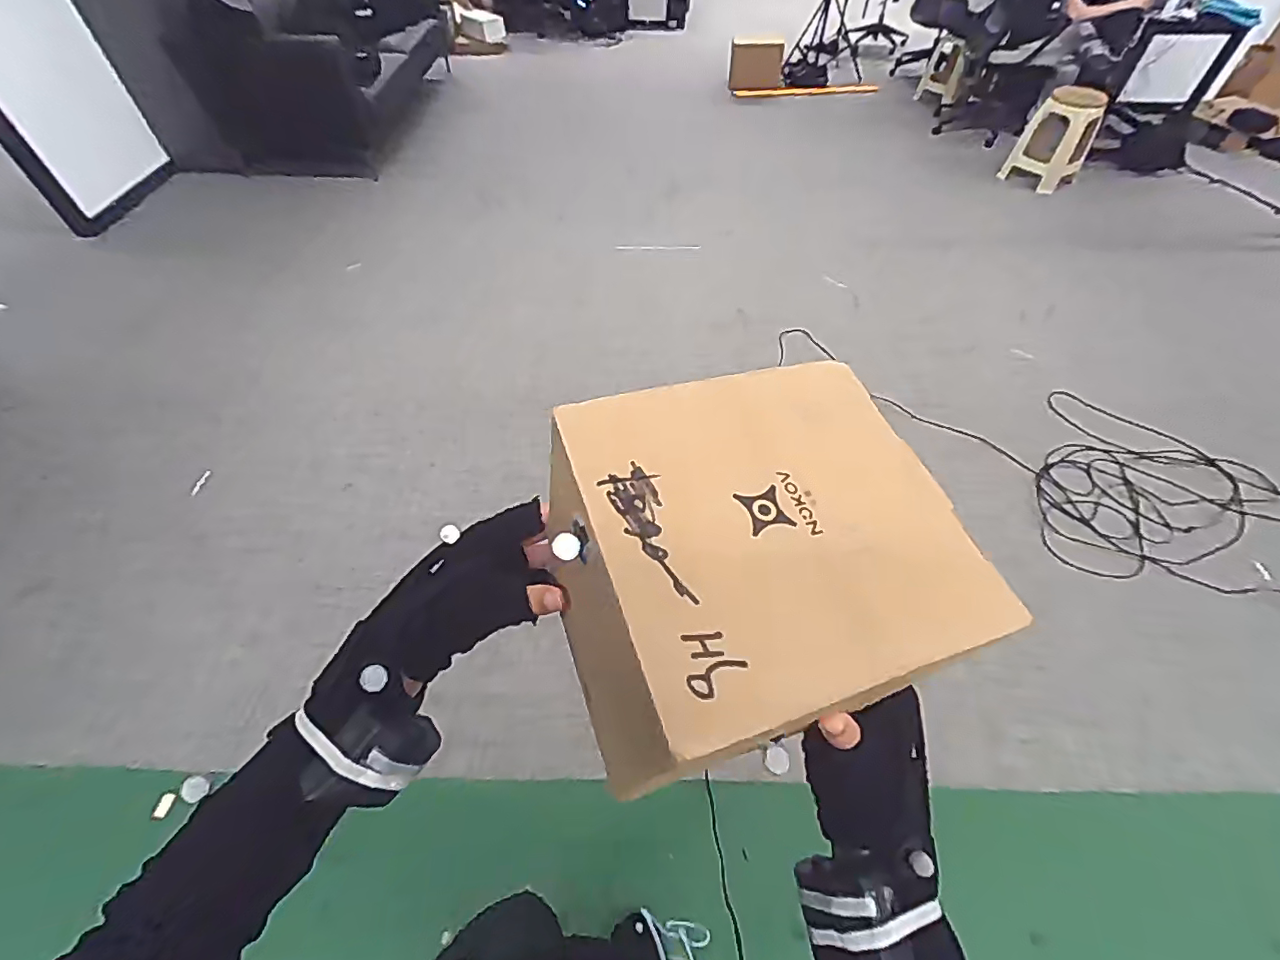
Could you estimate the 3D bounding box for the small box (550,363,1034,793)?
[{"bbox_3d":[0.054,0.058,0.311,0.179,0.176,0.168,-11,58,-19],"label":"small box"}]
